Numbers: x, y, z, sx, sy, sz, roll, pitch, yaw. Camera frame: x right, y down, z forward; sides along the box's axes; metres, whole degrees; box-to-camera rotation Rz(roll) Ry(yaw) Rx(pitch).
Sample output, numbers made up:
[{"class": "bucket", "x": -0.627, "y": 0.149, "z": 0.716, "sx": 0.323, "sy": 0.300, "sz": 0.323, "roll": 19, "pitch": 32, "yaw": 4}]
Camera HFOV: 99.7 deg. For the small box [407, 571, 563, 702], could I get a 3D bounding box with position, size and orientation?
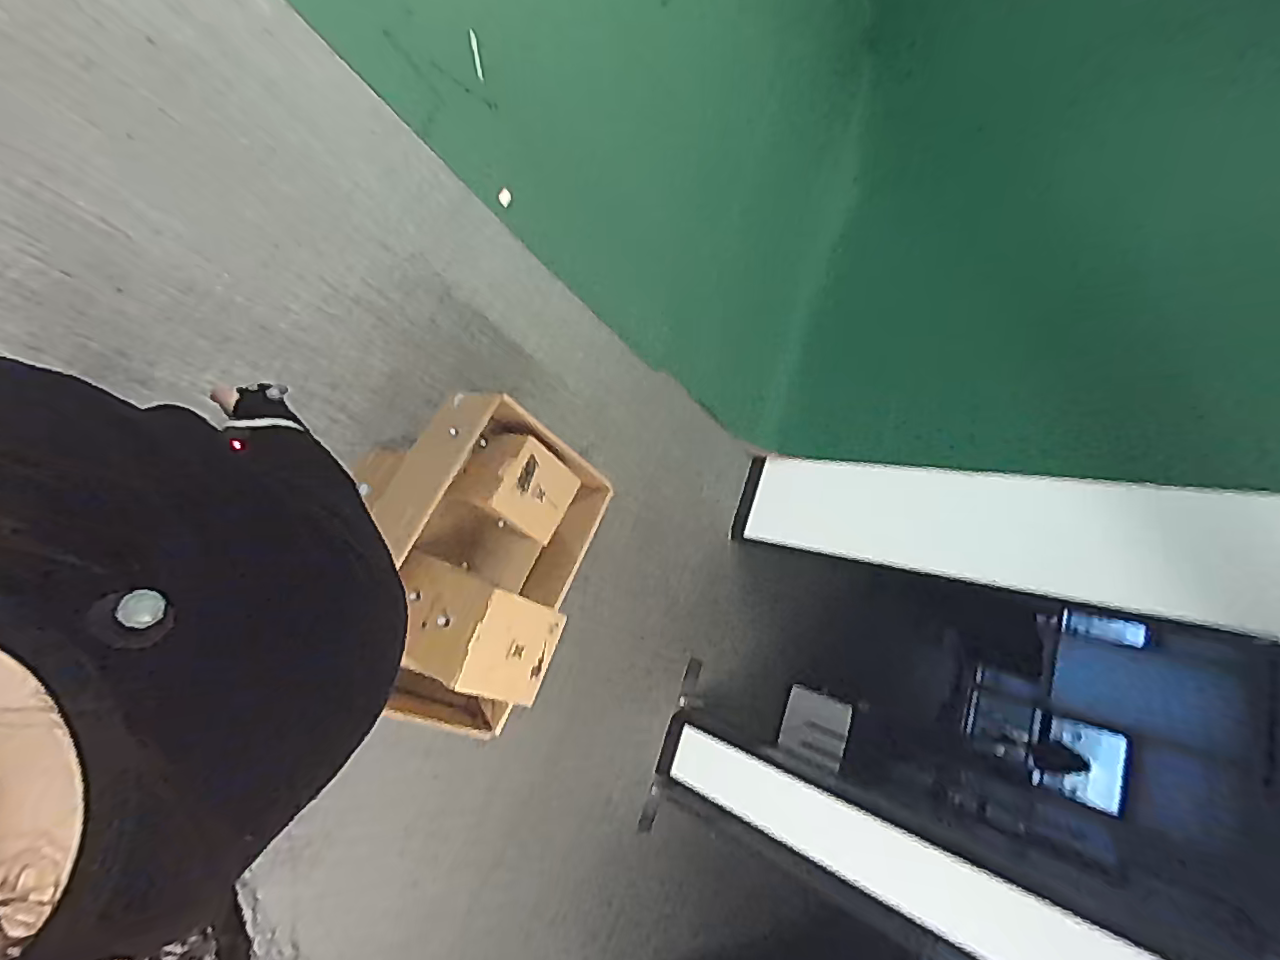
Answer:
[{"class": "small box", "x": -0.277, "y": 0.273, "z": 0.964, "sx": 0.179, "sy": 0.176, "sz": 0.168, "roll": 38, "pitch": 67, "yaw": -44}]
